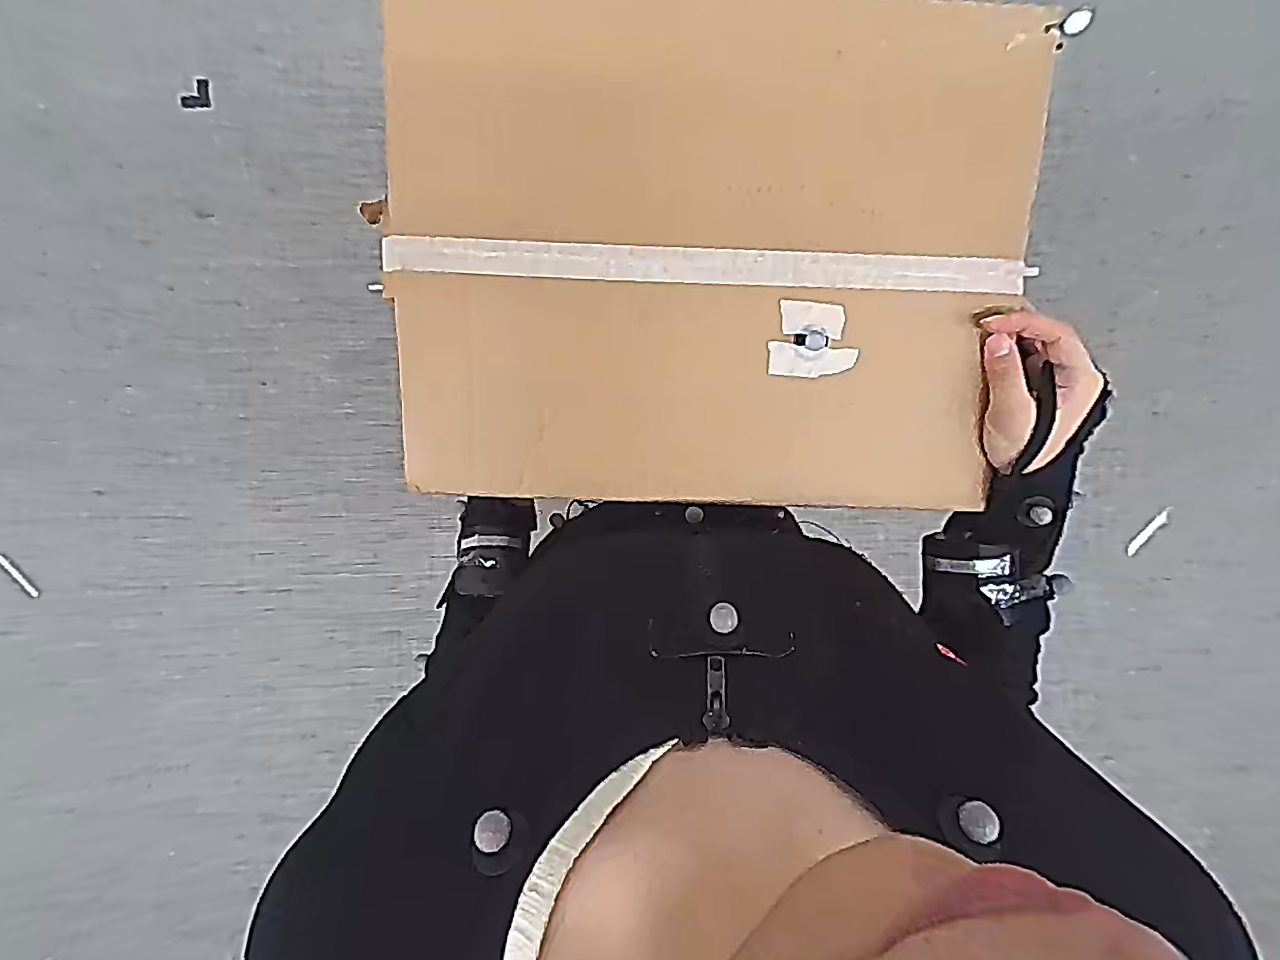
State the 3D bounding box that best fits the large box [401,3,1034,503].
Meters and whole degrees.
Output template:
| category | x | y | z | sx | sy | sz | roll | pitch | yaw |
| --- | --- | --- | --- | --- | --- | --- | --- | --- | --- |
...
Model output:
| category | x | y | z | sx | sy | sz | roll | pitch | yaw |
| --- | --- | --- | --- | --- | --- | --- | --- | --- | --- |
| large box | 0.043 | -0.161 | 0.505 | 0.408 | 0.320 | 0.320 | 1 | 101 | -3 |
